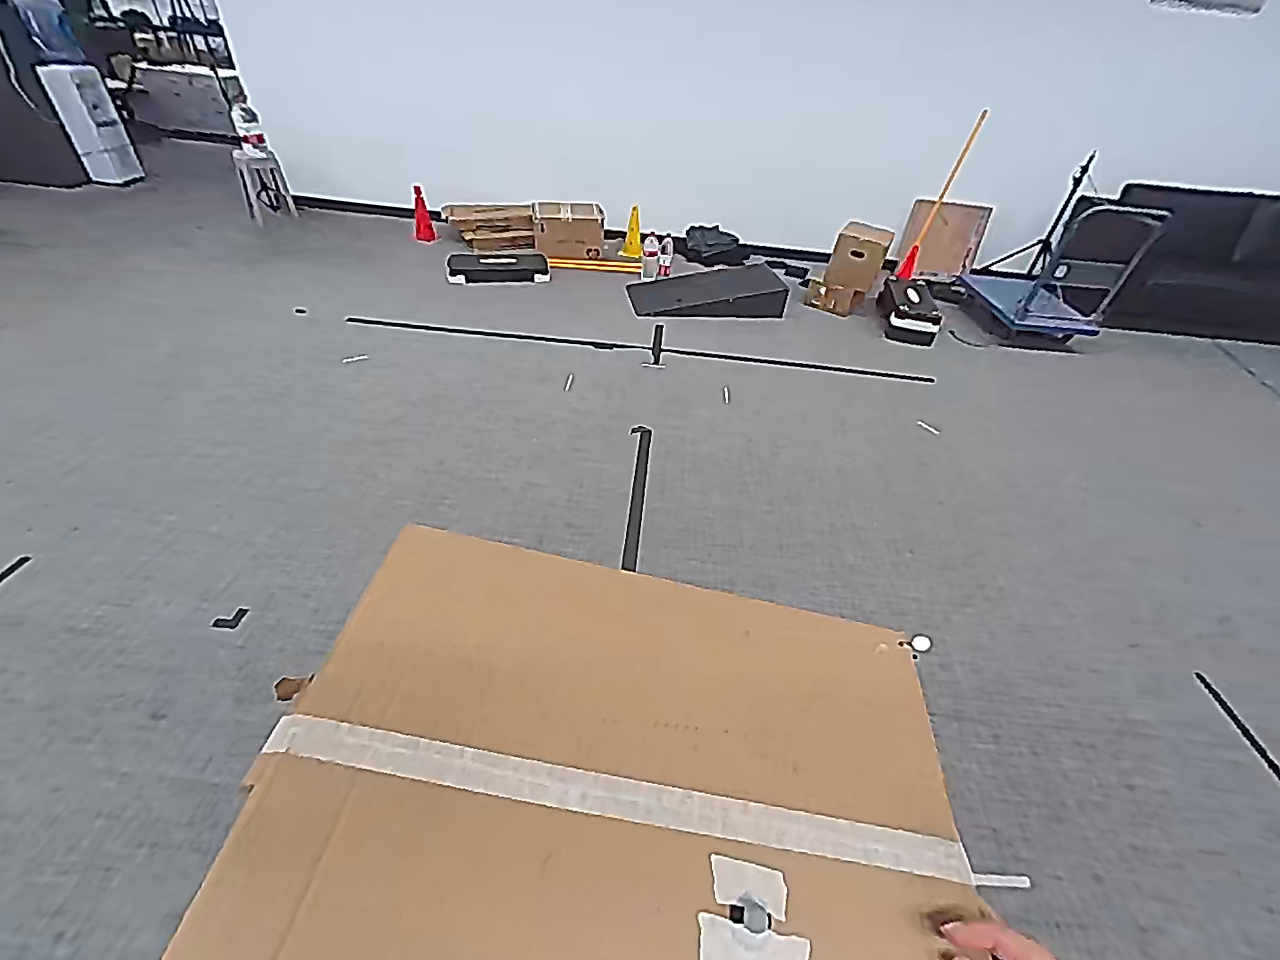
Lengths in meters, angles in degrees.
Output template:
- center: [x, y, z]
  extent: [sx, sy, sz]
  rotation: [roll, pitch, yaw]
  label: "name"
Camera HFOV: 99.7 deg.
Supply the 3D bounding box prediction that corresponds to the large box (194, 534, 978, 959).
- center: [-0.029, 0.291, 0.431]
  extent: [0.408, 0.320, 0.320]
  rotation: [14, 46, -4]
  label: "large box"
